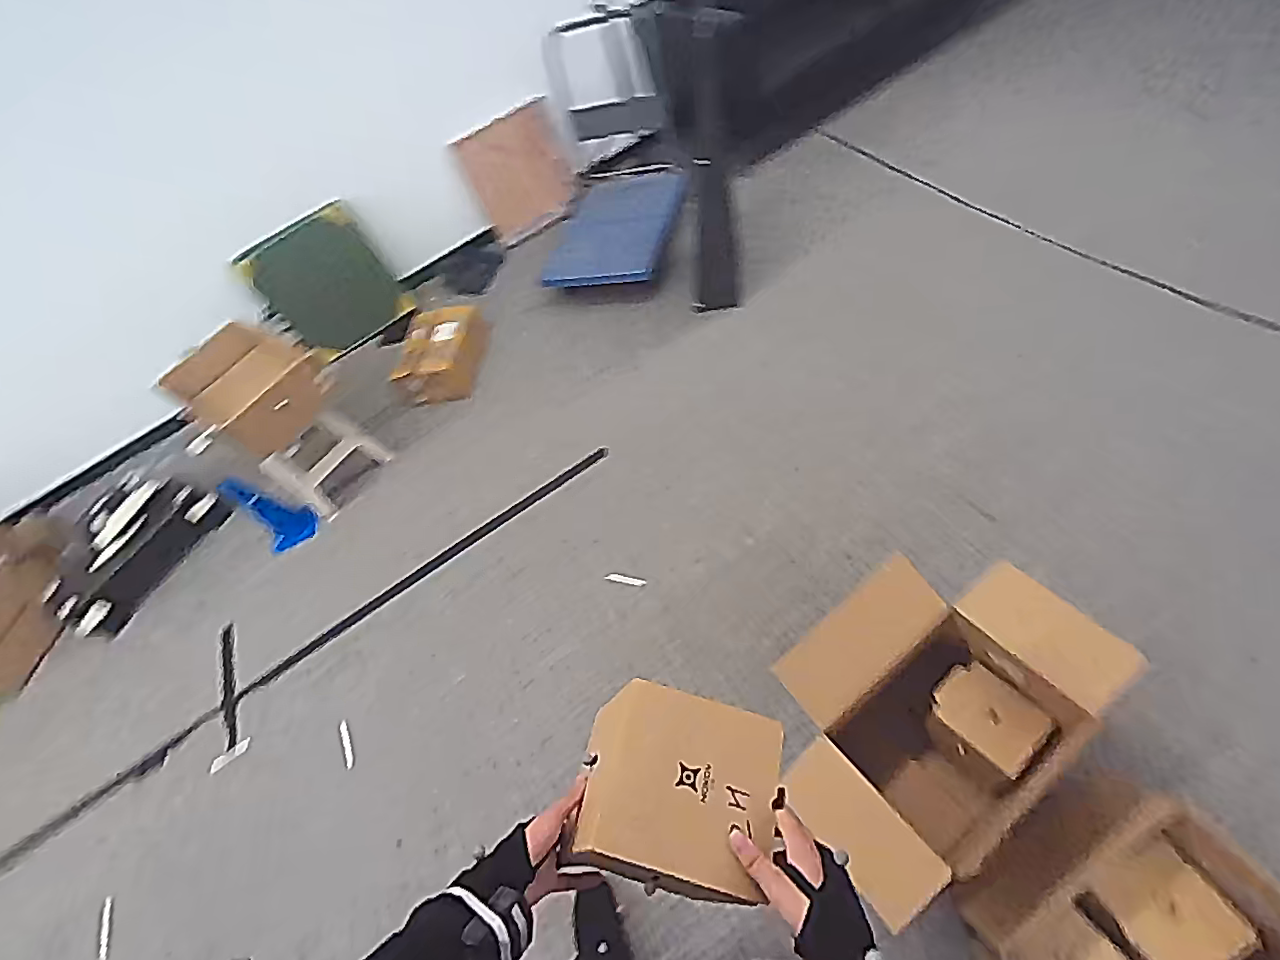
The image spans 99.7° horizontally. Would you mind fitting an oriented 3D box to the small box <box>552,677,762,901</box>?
[{"bbox_3d":[0.015,0.351,0.613,0.179,0.176,0.168,22,51,-6],"label":"small box"}]
